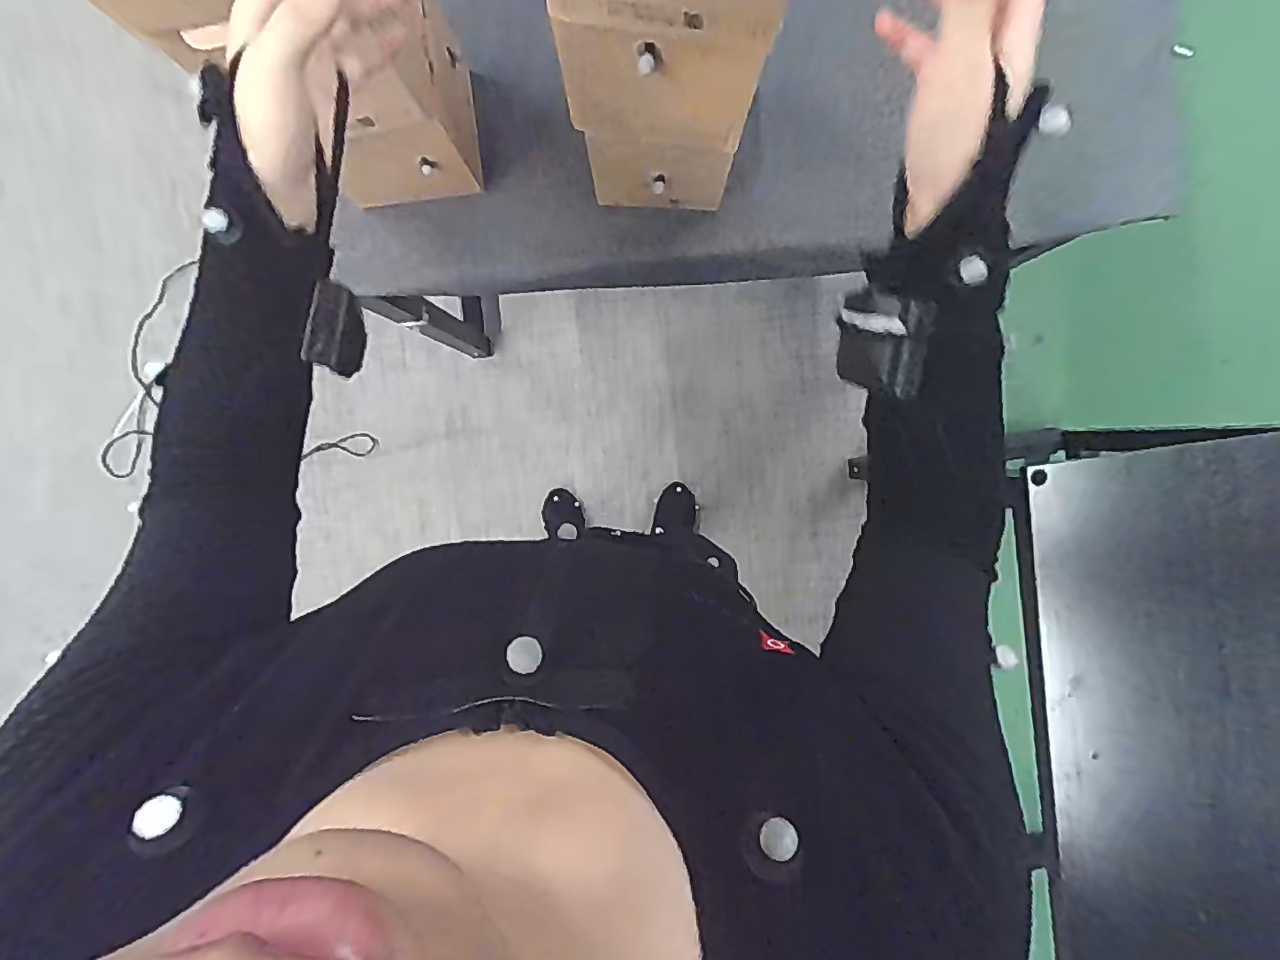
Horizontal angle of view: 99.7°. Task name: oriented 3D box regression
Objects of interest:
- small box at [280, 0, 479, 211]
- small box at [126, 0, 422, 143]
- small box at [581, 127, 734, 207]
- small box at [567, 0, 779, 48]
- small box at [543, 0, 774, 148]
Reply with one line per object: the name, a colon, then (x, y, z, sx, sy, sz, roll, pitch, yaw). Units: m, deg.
small box: (-0.306, -0.451, 0.653, 0.179, 0.176, 0.168, -7, 92, 2)
small box: (-0.320, -0.439, 0.489, 0.168, 0.176, 0.179, -11, 91, 1)
small box: (0.026, -0.447, 0.643, 0.168, 0.176, 0.179, 3, 94, 2)
small box: (0.025, -0.406, 0.317, 0.168, 0.176, 0.179, 10, 93, 1)
small box: (0.026, -0.429, 0.481, 0.179, 0.176, 0.168, 9, 93, 2)
